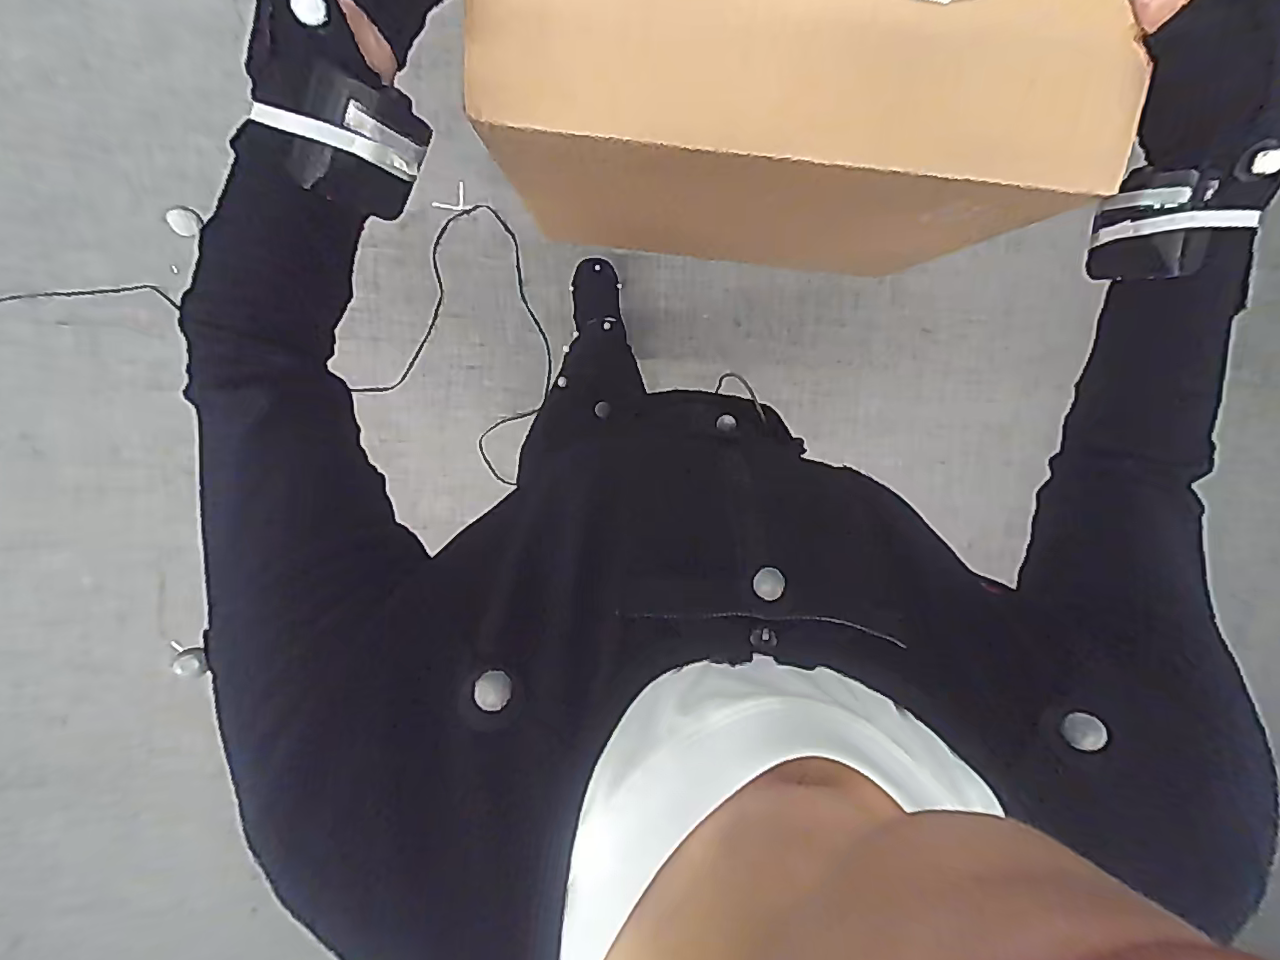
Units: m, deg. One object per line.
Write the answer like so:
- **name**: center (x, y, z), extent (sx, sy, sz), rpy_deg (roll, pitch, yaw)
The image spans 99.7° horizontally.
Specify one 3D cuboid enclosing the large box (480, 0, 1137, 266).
- **large box**: center (0.104, -0.385, 0.458), extent (0.408, 0.320, 0.320), rpy_deg (5, 102, -2)
